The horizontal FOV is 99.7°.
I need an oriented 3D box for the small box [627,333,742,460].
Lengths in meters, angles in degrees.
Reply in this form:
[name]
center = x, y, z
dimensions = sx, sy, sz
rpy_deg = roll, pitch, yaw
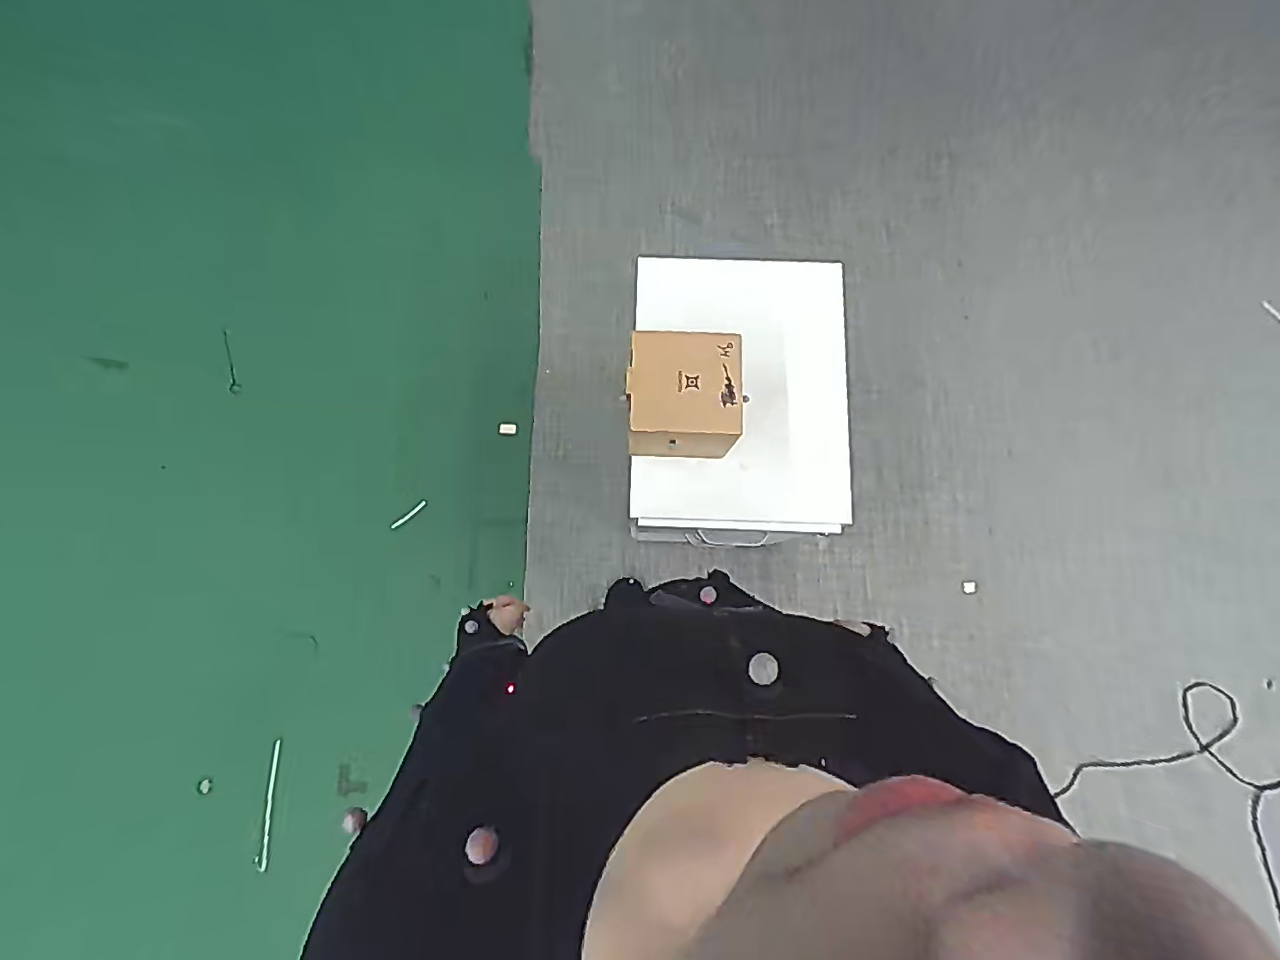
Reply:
[small box]
center = 0.069, -0.132, 0.907
dimensions = 0.179, 0.176, 0.168
rpy_deg = 2, 80, -1
